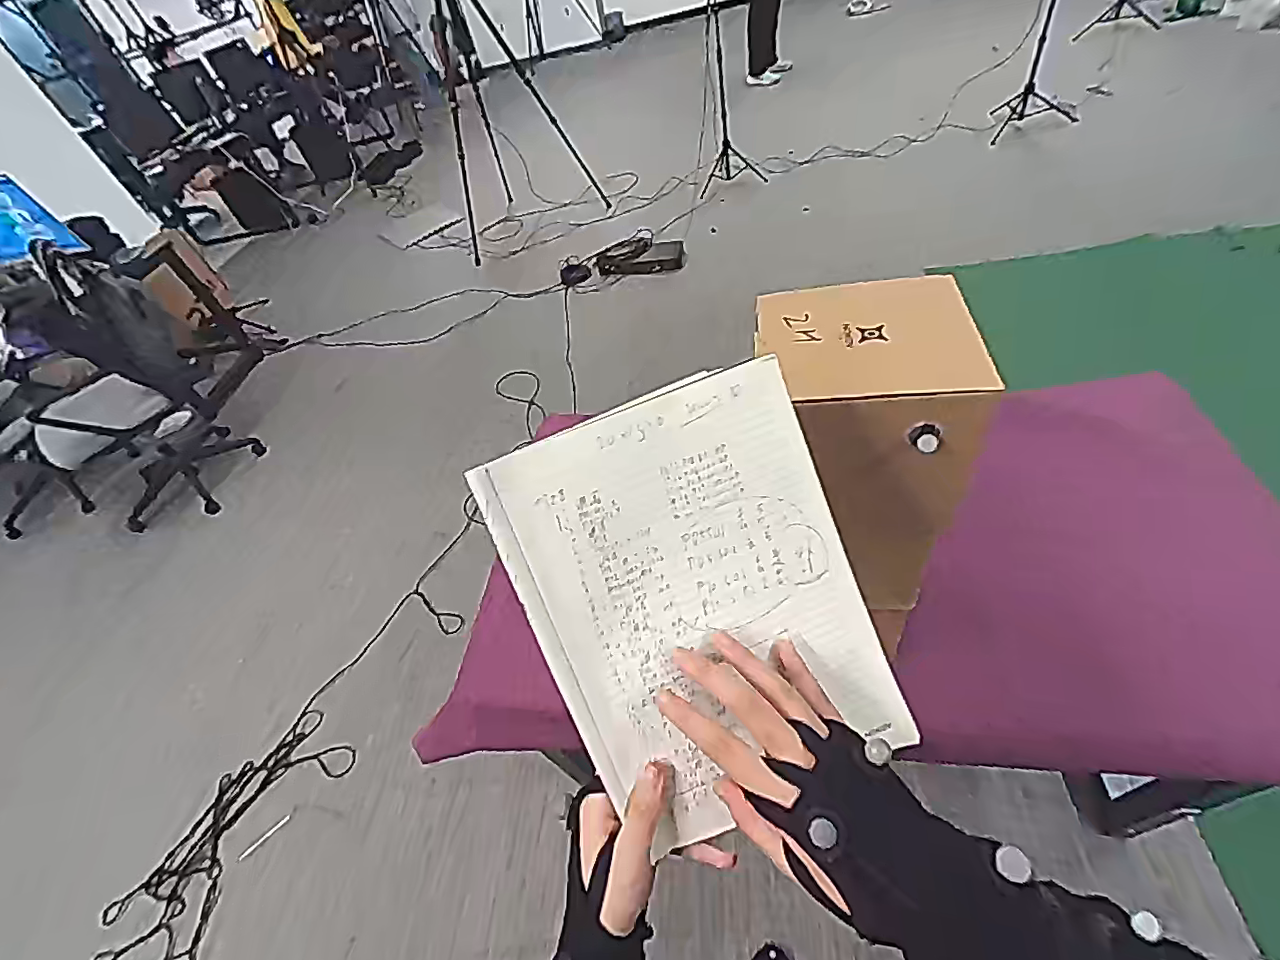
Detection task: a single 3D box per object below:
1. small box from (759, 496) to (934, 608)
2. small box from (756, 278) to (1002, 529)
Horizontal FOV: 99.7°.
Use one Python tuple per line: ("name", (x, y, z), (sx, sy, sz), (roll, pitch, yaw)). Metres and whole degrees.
("small box", (0.229, 0.039, 0.640), (0.168, 0.176, 0.179), (-3, 47, 13))
("small box", (0.204, -0.066, 0.515), (0.179, 0.176, 0.168), (-1, 47, 15))
